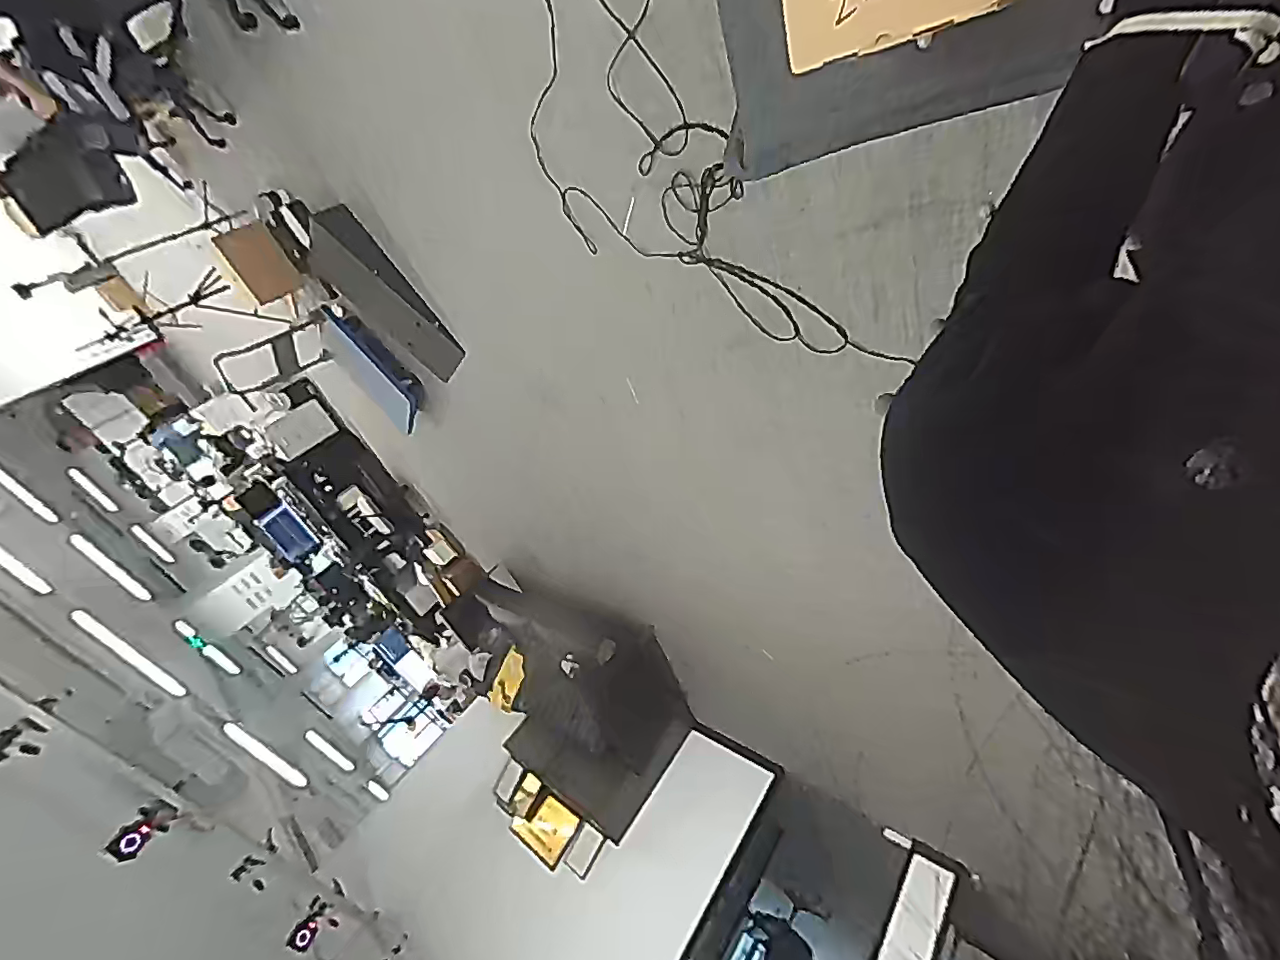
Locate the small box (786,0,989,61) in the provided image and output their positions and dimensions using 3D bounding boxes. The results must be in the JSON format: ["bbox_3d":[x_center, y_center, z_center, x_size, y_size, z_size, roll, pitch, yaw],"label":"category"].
[{"bbox_3d":[0.220,-0.470,0.424,0.168,0.176,0.179,13,136,40],"label":"small box"}]
